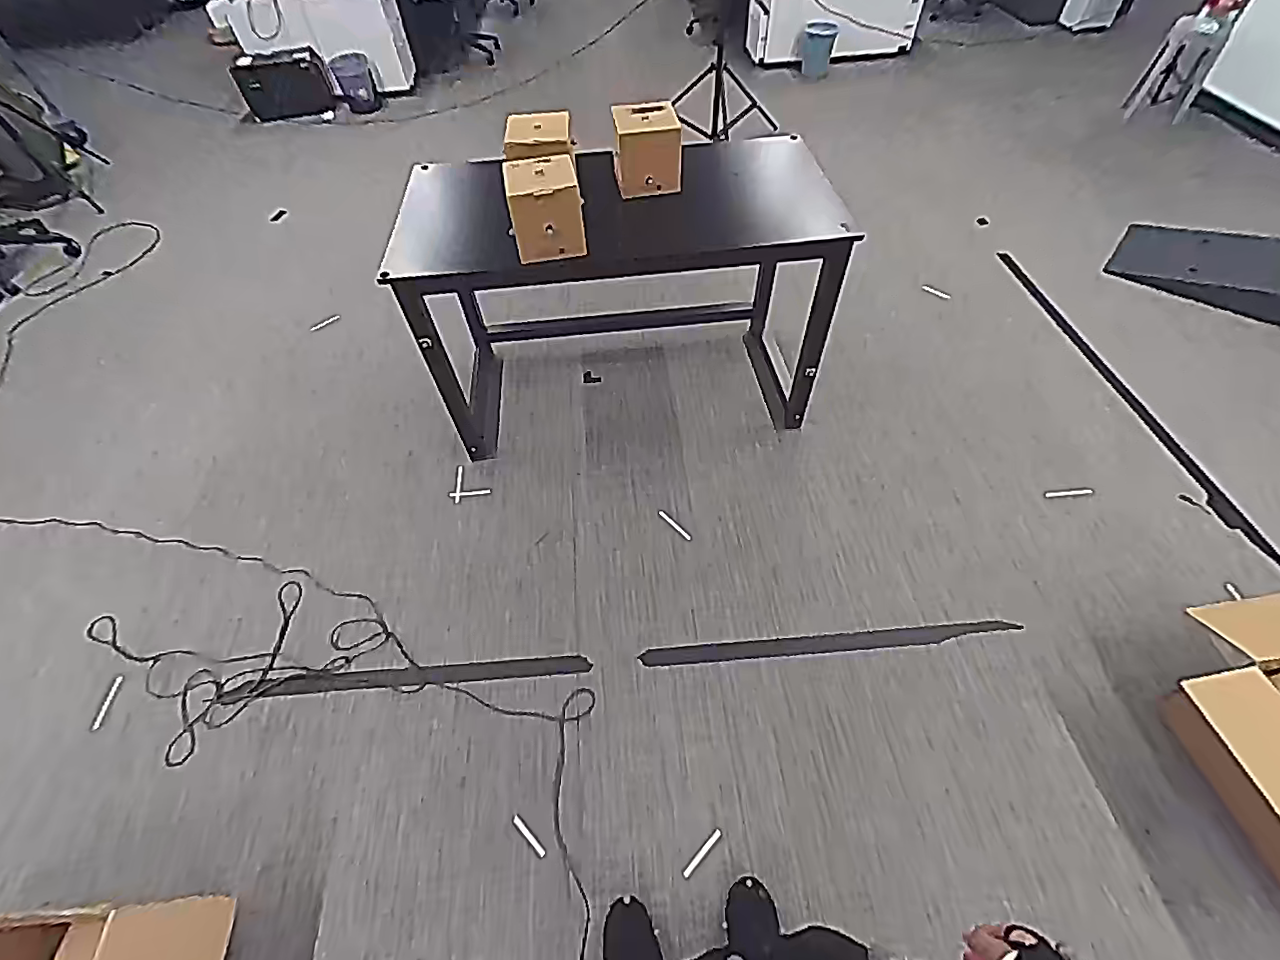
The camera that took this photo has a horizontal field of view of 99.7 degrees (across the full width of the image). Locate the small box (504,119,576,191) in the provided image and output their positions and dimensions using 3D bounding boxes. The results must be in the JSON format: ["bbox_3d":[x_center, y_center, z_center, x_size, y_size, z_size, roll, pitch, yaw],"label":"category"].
[{"bbox_3d":[-0.270,-0.866,1.493,0.168,0.176,0.179,-5,54,-1],"label":"small box"}]

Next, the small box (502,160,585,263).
[{"bbox_3d":[-0.235,-0.653,1.330,0.168,0.176,0.179,-11,54,-5],"label":"small box"}]
